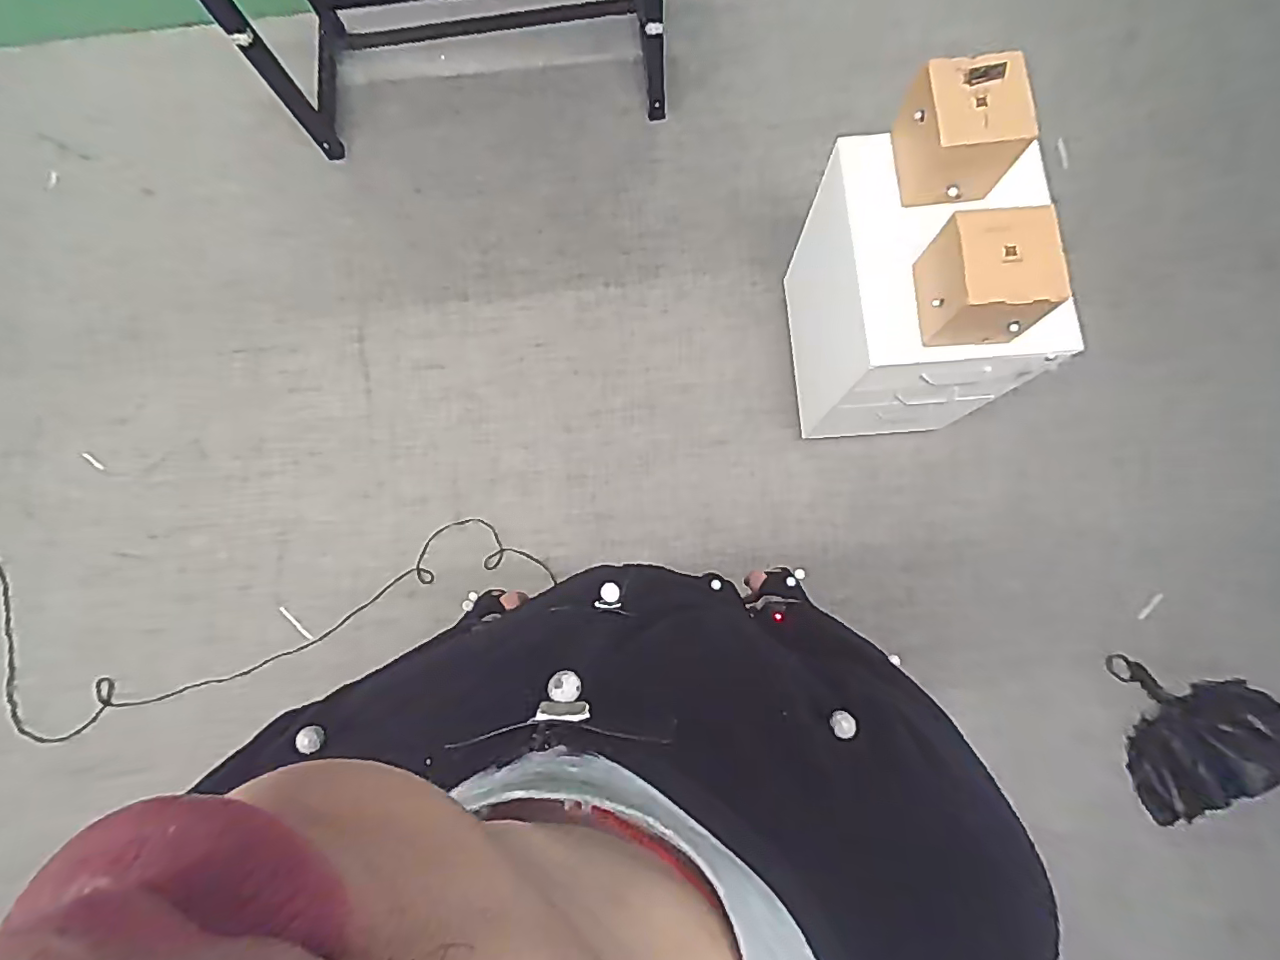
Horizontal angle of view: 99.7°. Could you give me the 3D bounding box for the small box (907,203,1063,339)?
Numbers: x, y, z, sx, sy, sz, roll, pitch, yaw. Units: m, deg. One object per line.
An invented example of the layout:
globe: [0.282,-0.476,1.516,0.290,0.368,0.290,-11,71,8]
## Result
small box: [0.607,-0.364,0.974,0.168,0.176,0.179,-2,79,0]

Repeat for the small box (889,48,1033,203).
small box: [0.592,-0.659,1.020,0.168,0.176,0.179,-4,83,2]
